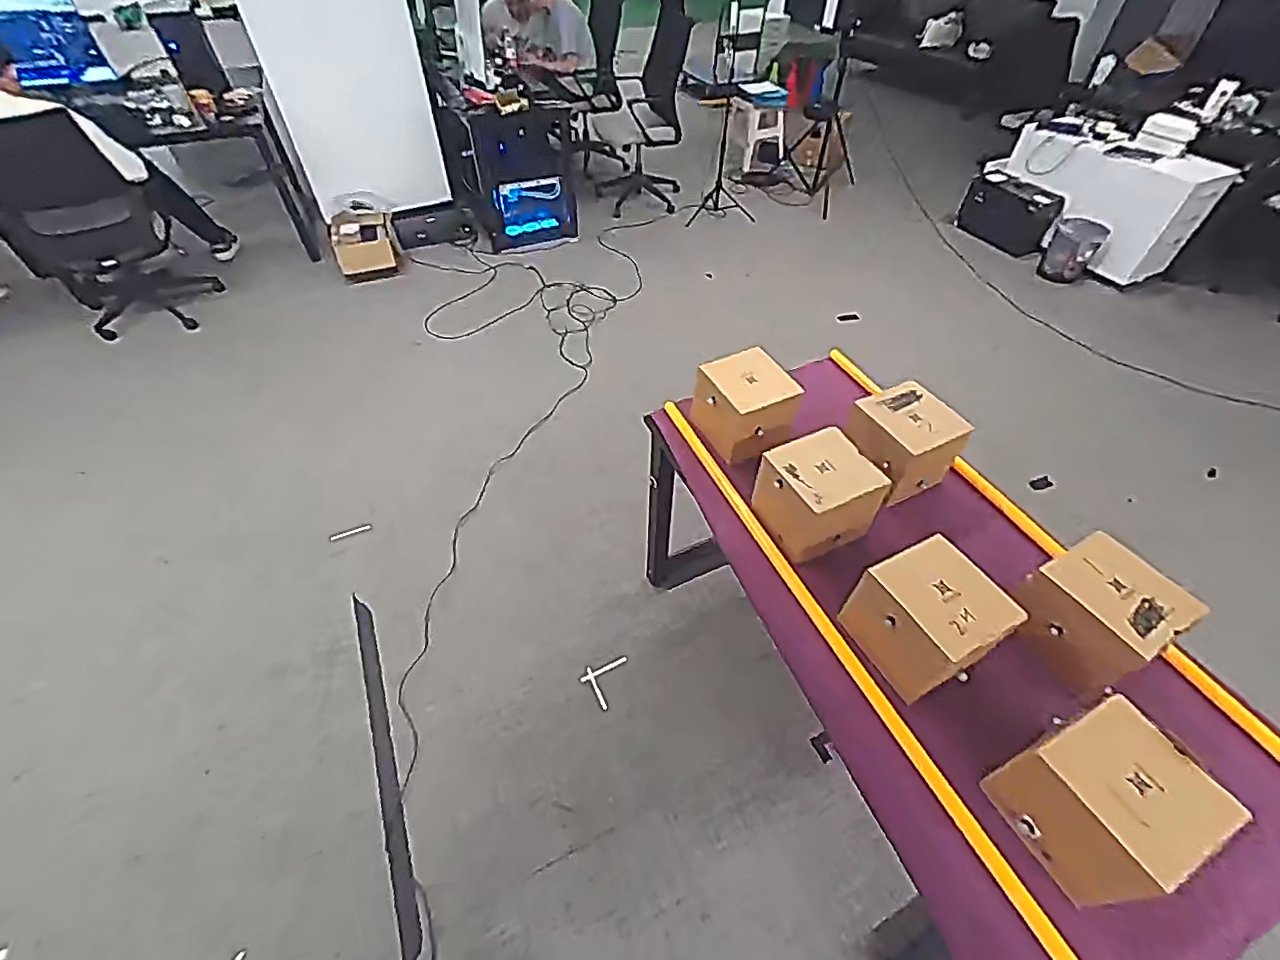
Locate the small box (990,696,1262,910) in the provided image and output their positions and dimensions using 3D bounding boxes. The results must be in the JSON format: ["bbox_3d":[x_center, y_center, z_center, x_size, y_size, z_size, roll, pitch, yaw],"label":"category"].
[{"bbox_3d":[0.614,0.422,0.710,0.179,0.176,0.168,-19,50,-19],"label":"small box"}]

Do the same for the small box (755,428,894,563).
[{"bbox_3d":[0.347,0.032,1.053,0.179,0.176,0.168,-19,50,-17],"label":"small box"}]

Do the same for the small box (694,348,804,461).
[{"bbox_3d":[0.238,-0.164,1.224,0.168,0.176,0.179,-21,53,-18],"label":"small box"}]

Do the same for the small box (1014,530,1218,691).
[{"bbox_3d":[0.751,0.221,0.888,0.168,0.176,0.179,-23,52,-17],"label":"small box"}]

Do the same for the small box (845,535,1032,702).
[{"bbox_3d":[0.469,0.226,0.883,0.168,0.176,0.179,-20,52,-18],"label":"small box"}]
